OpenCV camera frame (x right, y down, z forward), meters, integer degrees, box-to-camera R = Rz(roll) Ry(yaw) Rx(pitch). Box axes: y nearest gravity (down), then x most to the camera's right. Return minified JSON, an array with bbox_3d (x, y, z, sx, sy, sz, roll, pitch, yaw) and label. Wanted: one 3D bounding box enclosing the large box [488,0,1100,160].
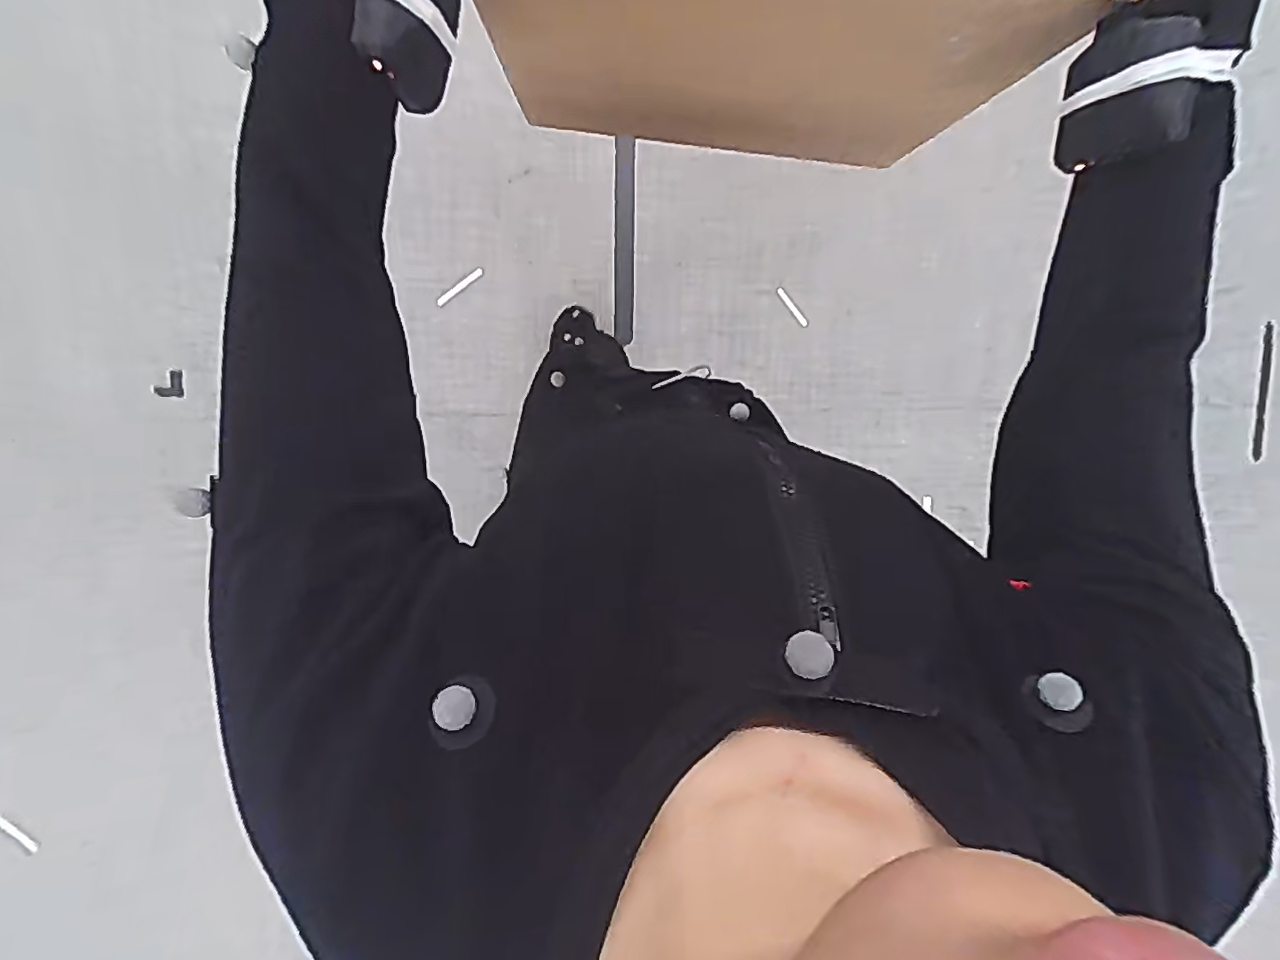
[{"bbox_3d":[0.095,-0.488,0.425,0.408,0.320,0.320,5,105,-4],"label":"large box"}]
